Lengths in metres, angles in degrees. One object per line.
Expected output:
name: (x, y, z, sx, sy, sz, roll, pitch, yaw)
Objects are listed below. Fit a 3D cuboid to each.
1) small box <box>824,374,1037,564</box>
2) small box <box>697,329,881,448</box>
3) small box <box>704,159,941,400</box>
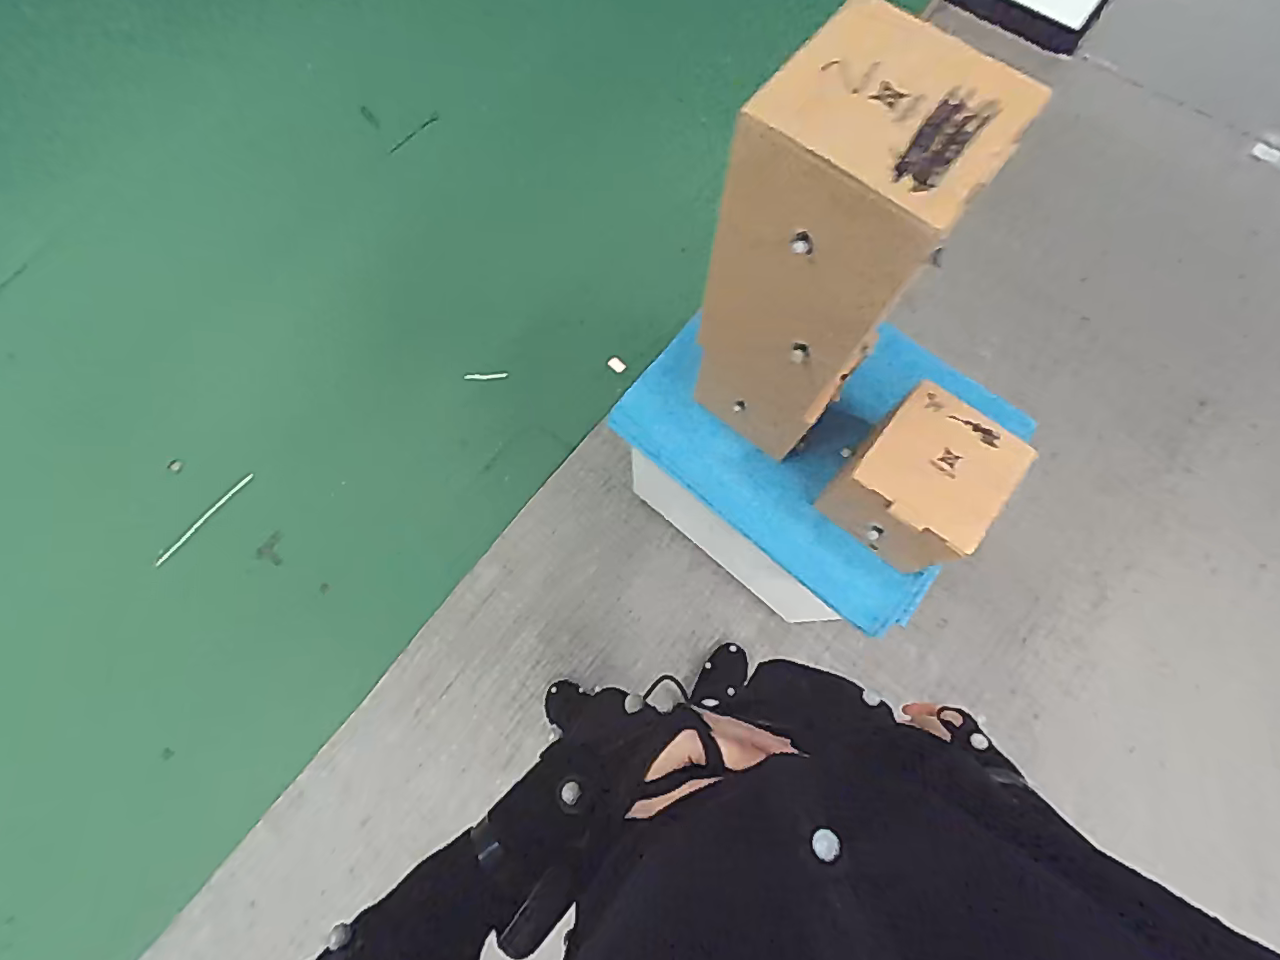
small box: (0.378, -0.003, 0.744, 0.168, 0.176, 0.179, 39, 78, 10)
small box: (0.204, -0.167, 0.791, 0.179, 0.176, 0.168, 38, 77, 10)
small box: (0.197, -0.217, 0.635, 0.179, 0.176, 0.168, 39, 77, 10)
